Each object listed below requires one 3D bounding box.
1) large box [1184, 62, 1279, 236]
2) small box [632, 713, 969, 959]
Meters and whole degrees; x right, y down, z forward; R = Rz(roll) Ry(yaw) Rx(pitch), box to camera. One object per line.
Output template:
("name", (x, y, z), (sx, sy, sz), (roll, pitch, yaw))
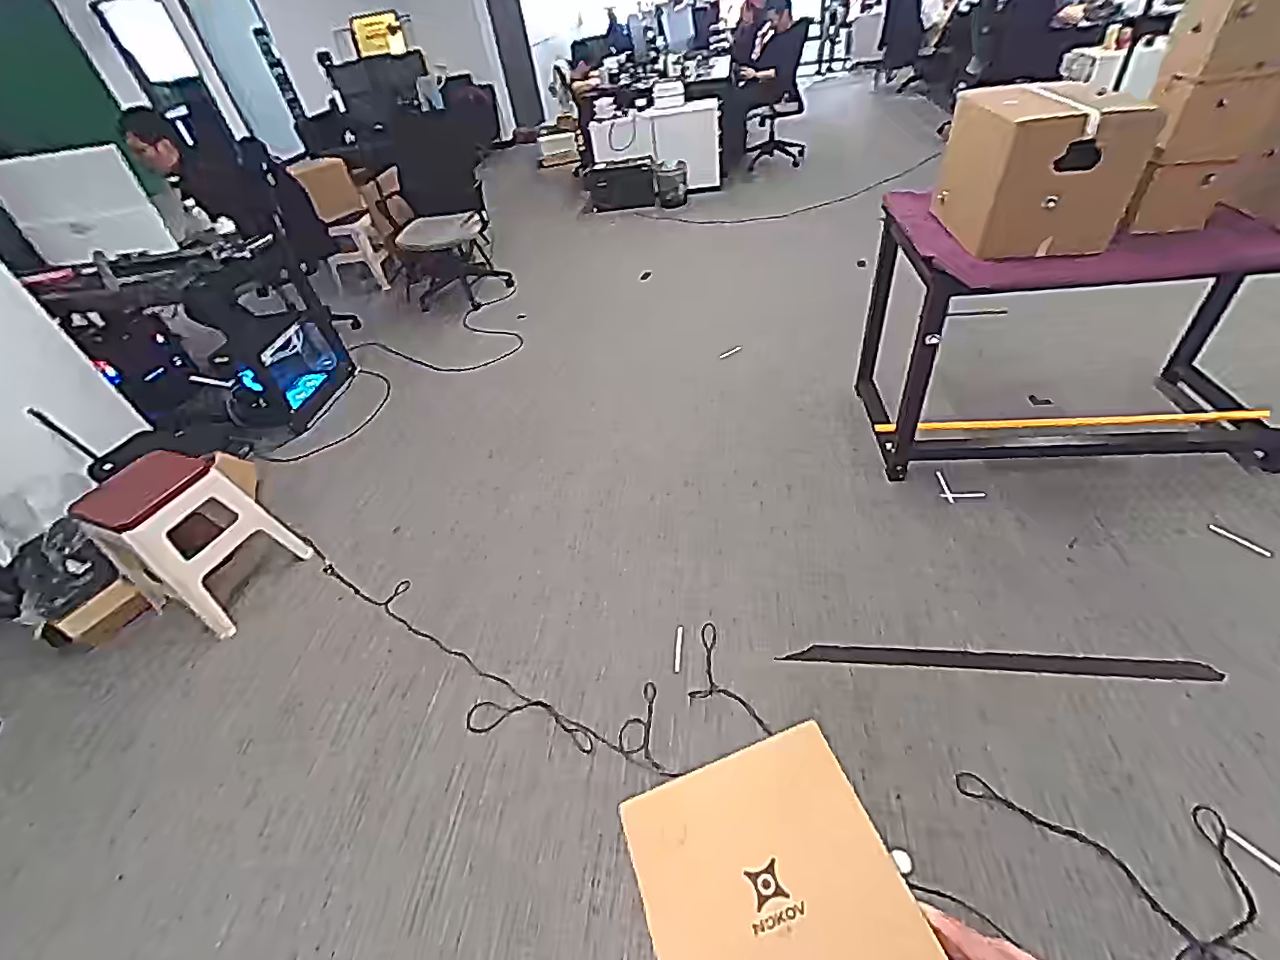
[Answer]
("large box", (1.699, -0.821, 1.319), (0.320, 0.320, 0.408), (-1, 41, 9))
("small box", (0.109, 0.315, 0.400), (0.168, 0.176, 0.179), (-21, 42, -4))
